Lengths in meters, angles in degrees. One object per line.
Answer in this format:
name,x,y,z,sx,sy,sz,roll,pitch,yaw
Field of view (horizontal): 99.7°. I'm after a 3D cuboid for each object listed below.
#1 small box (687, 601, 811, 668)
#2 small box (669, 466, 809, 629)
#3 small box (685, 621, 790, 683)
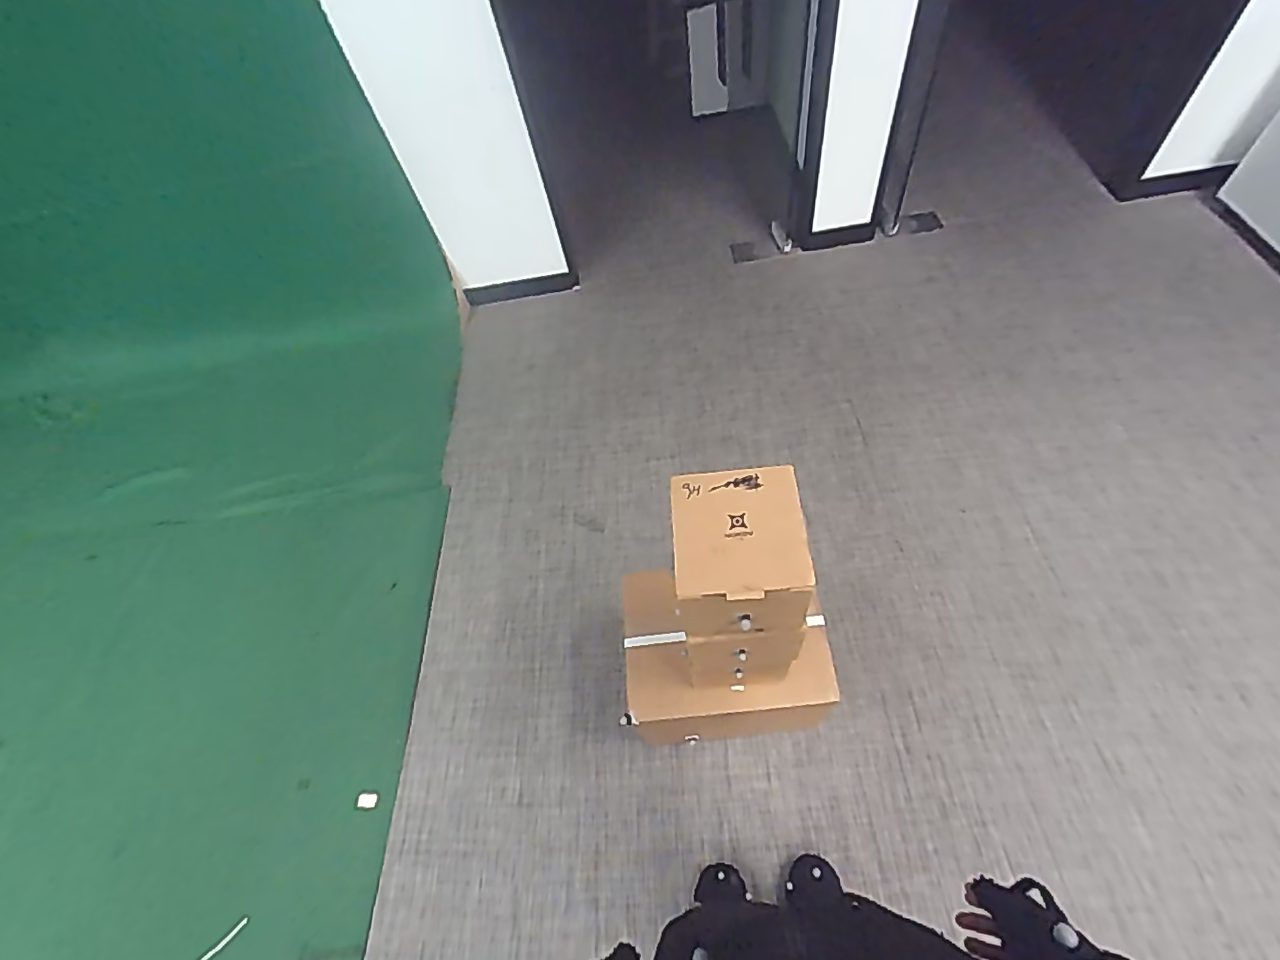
small box,0.160,0.197,0.880,0.179,0.176,0.168,-9,58,3
small box,0.133,0.103,0.749,0.168,0.176,0.179,-5,58,8
small box,0.177,0.279,1.021,0.179,0.176,0.168,-6,58,5
